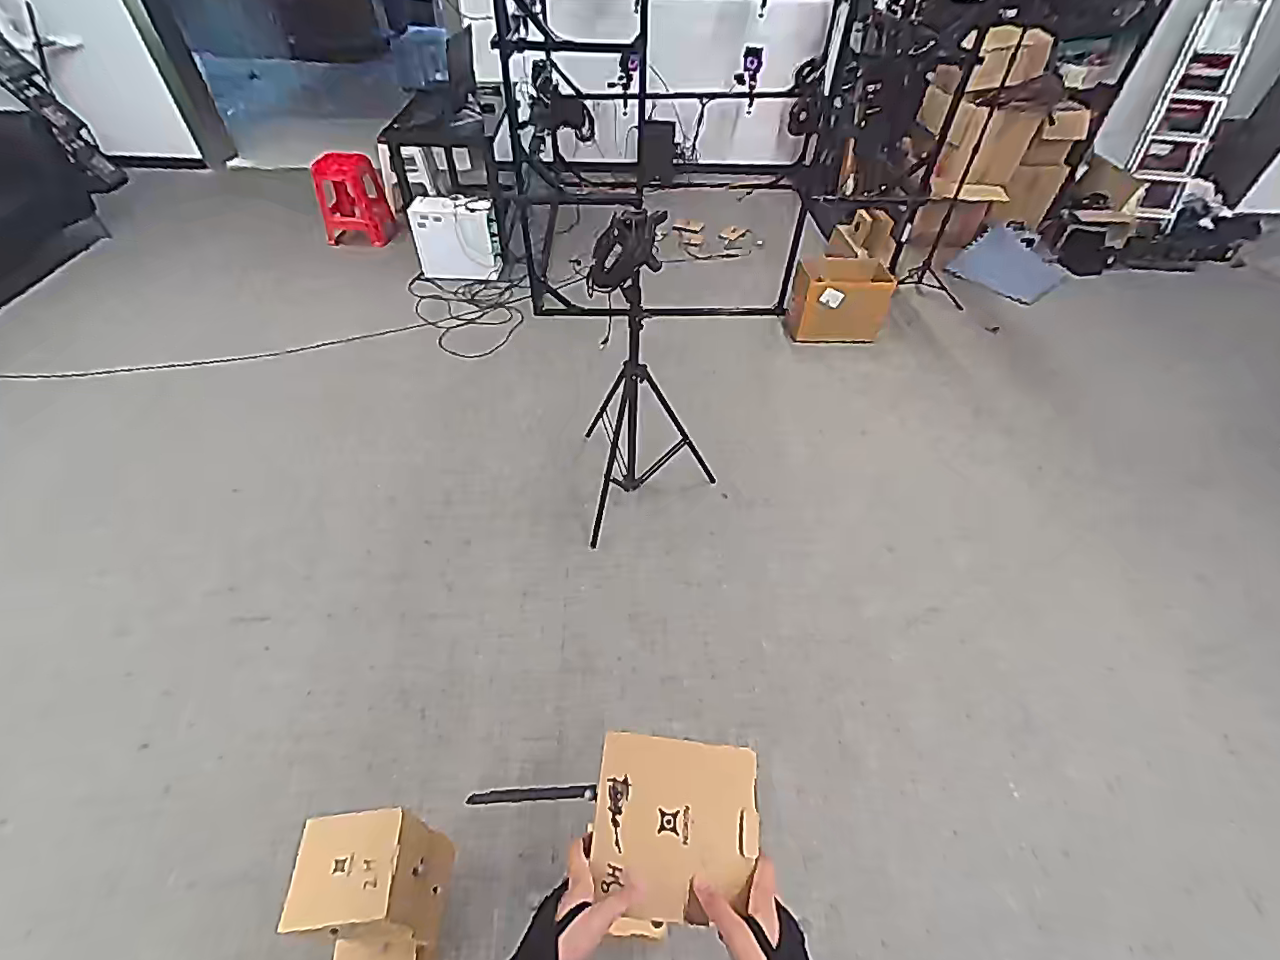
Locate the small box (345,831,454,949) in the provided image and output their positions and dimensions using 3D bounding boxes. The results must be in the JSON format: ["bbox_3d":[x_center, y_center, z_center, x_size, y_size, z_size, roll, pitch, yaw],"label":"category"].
[{"bbox_3d":[-0.495,0.837,1.107,0.168,0.176,0.179,1,47,1],"label":"small box"}]

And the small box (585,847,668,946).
[{"bbox_3d":[-0.031,0.952,1.237,0.179,0.176,0.168,0,47,-3],"label":"small box"}]

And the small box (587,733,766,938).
[{"bbox_3d":[0.037,0.404,0.627,0.179,0.176,0.168,7,56,0],"label":"small box"}]

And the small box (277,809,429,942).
[{"bbox_3d":[-0.508,0.724,0.987,0.179,0.176,0.168,-4,46,-4],"label":"small box"}]
